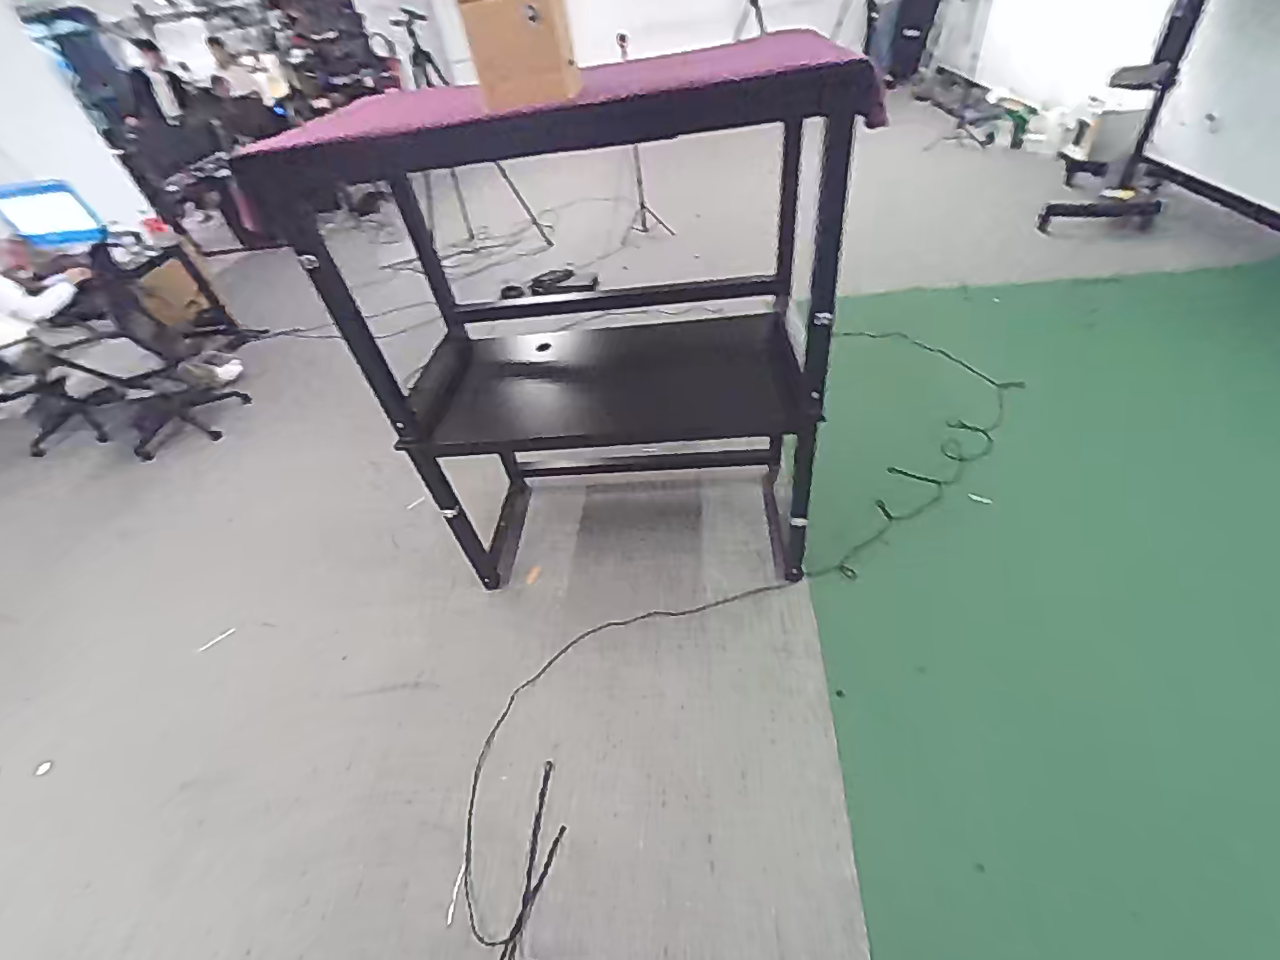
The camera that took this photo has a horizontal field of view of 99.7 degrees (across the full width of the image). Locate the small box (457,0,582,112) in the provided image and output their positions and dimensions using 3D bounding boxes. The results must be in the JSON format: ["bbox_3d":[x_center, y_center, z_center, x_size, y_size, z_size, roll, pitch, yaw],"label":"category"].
[{"bbox_3d":[-0.225,-0.840,1.057,0.179,0.176,0.168,-3,43,7],"label":"small box"}]
